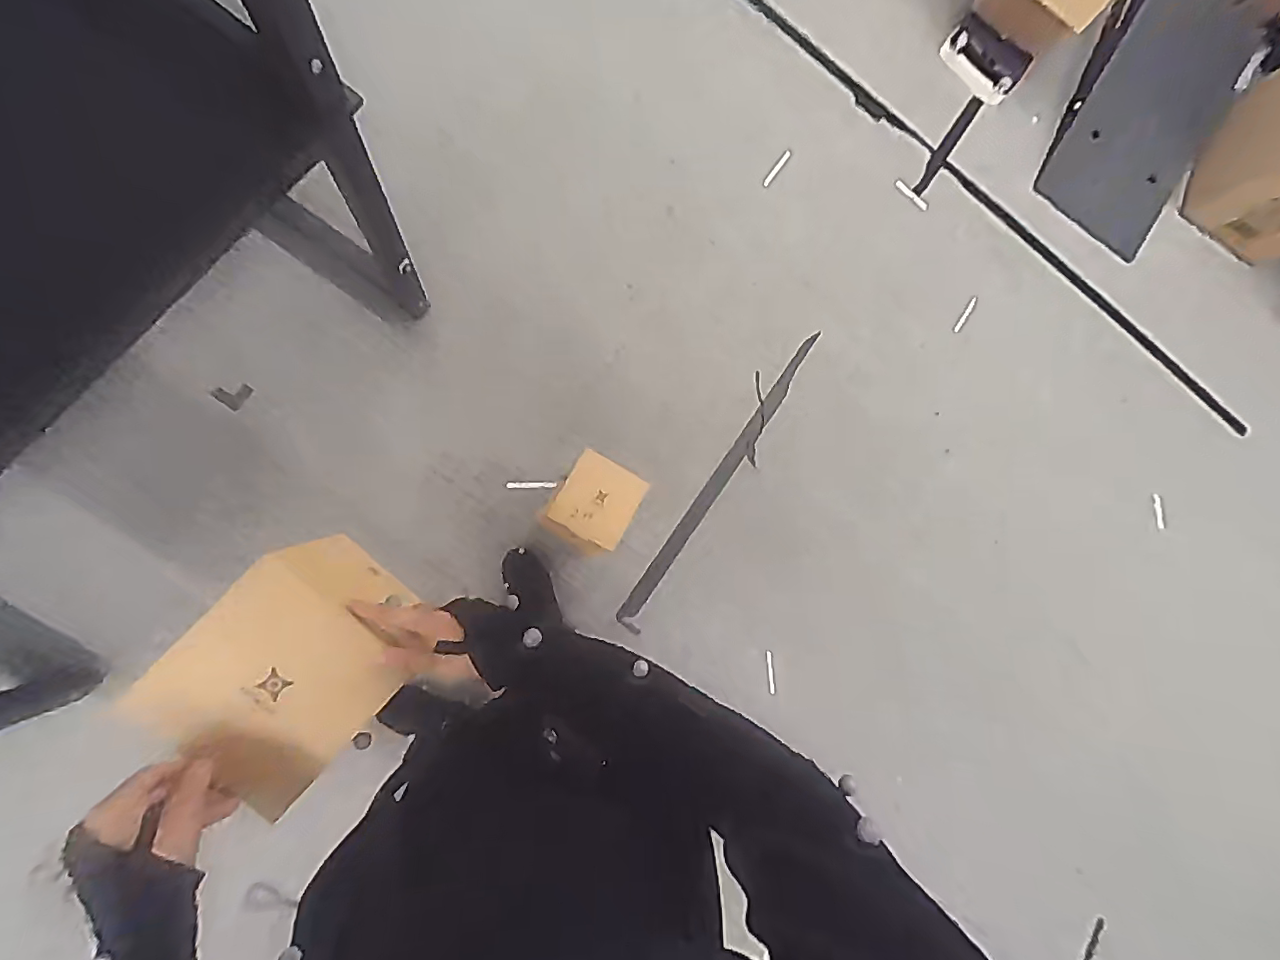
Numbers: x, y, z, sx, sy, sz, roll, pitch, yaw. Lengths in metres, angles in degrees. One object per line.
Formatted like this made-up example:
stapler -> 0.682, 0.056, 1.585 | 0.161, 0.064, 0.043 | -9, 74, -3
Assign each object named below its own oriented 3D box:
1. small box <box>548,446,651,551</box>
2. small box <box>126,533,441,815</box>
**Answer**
small box -> -0.102, 0.045, 1.240 | 0.168, 0.176, 0.179 | 31, 80, -9
small box -> -0.325, 0.172, 0.544 | 0.168, 0.176, 0.179 | 44, 85, -7
